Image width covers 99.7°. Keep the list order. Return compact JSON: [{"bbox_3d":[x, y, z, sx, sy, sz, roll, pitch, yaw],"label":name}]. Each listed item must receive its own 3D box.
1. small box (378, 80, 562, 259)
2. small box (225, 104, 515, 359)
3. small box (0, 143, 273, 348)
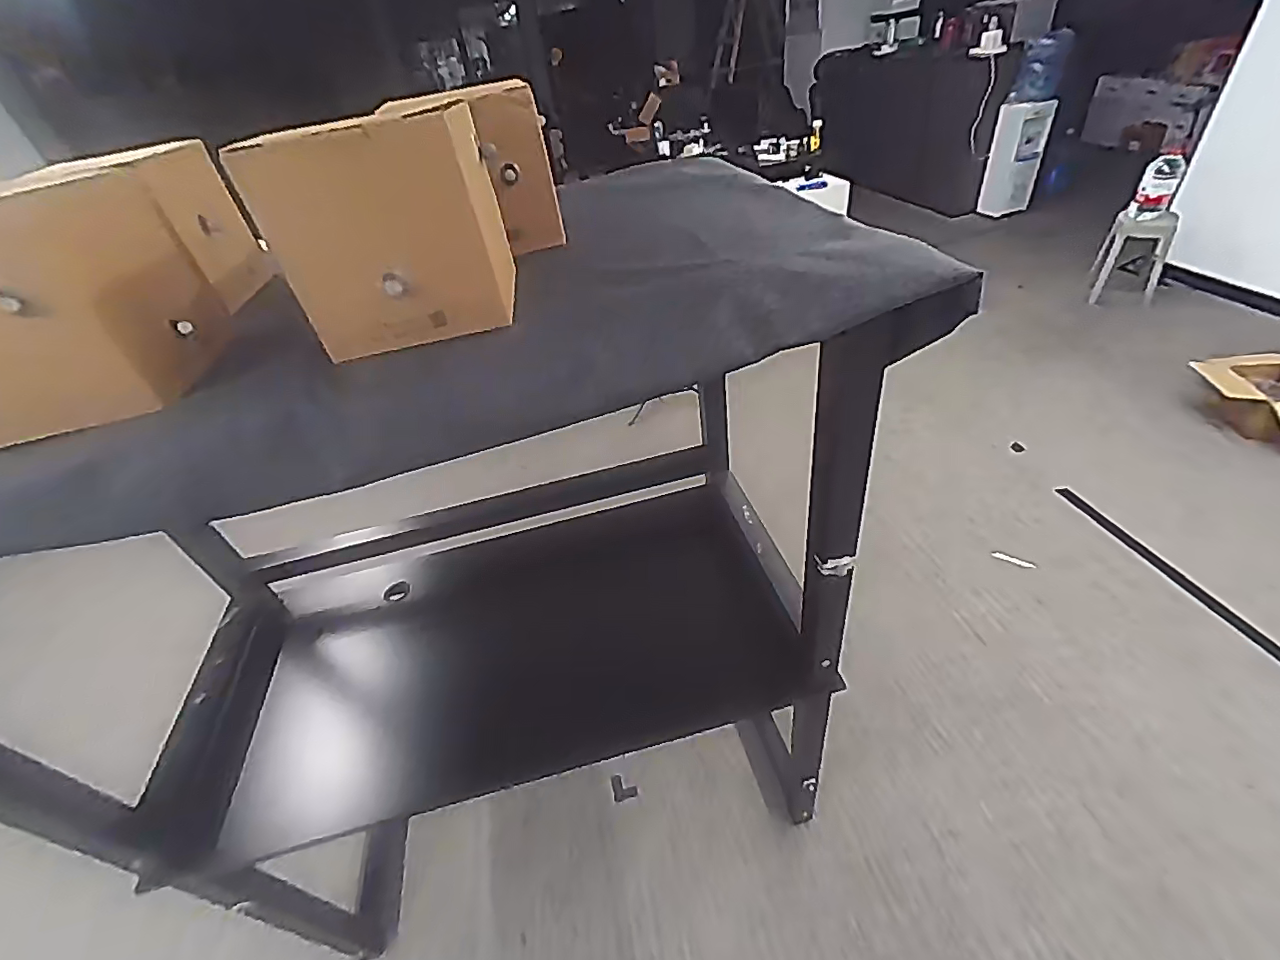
[{"bbox_3d":[-0.202,-0.380,0.677,0.168,0.176,0.179,-14,40,-7],"label":"small box"},{"bbox_3d":[-0.221,-0.233,0.505,0.168,0.176,0.179,-13,39,-2],"label":"small box"},{"bbox_3d":[-0.590,-0.281,0.648,0.179,0.176,0.168,-14,40,-4],"label":"small box"}]
